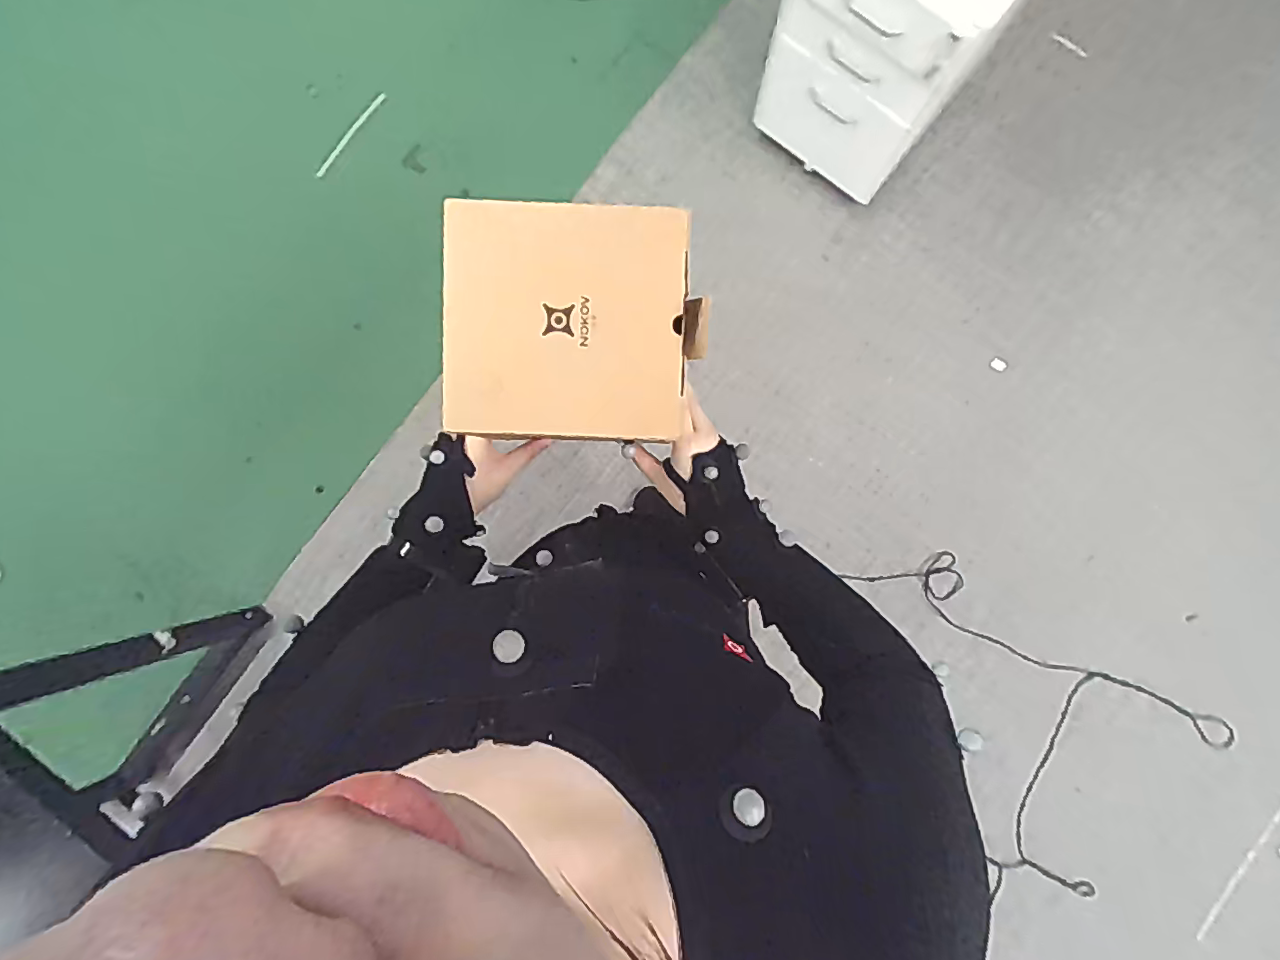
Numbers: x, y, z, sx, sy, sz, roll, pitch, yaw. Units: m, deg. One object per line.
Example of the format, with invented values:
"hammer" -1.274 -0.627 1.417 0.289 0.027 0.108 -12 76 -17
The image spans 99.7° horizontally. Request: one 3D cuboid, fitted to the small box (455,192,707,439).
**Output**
"small box" -0.043 -0.122 0.464 0.179 0.176 0.168 2 93 -1
